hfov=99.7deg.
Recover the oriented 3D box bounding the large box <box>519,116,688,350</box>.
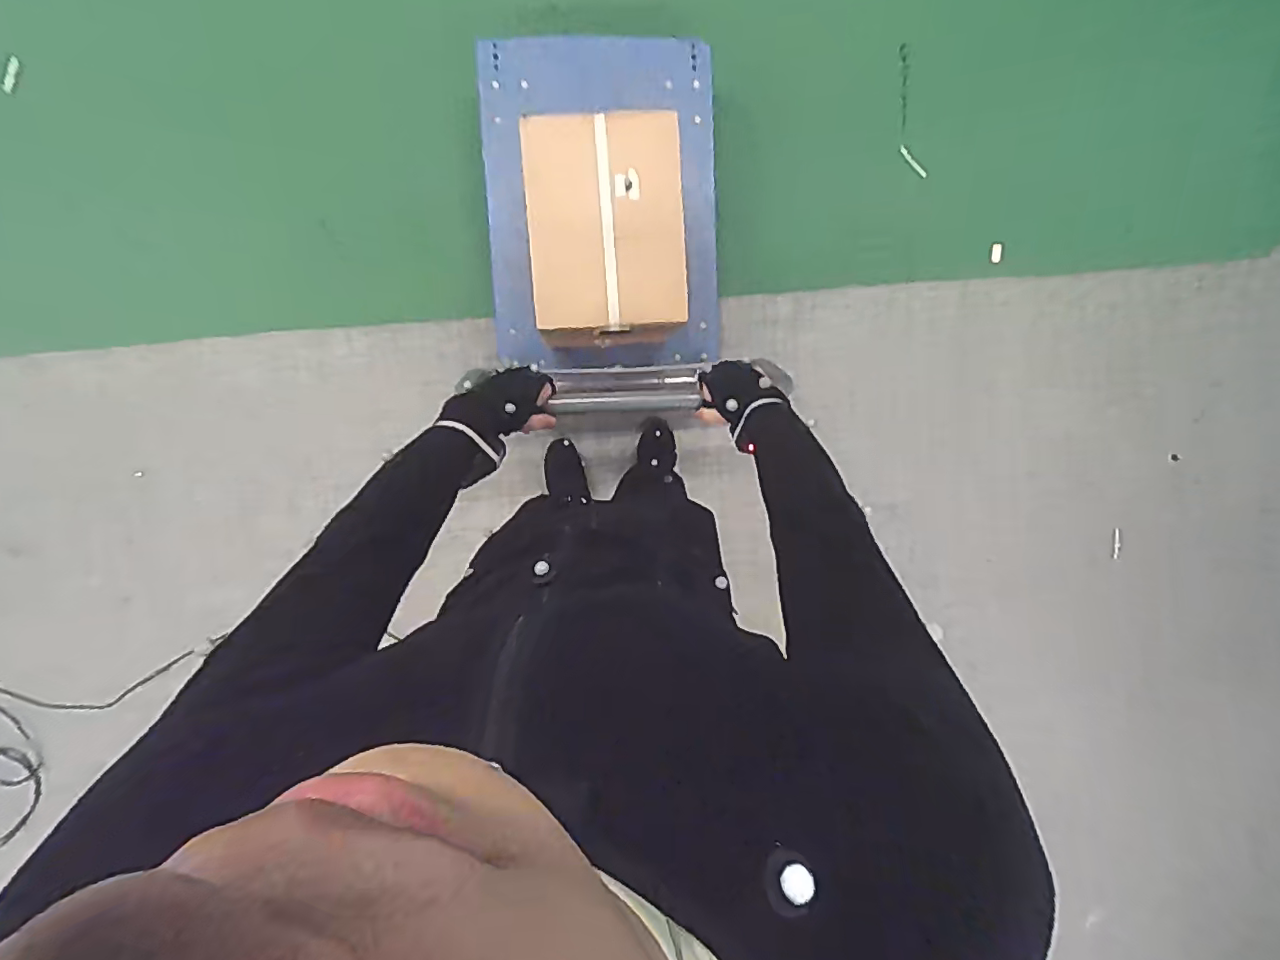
[{"bbox_3d":[-0.078,-0.528,1.234,0.320,0.320,0.408,-5,97,-4],"label":"large box"}]
